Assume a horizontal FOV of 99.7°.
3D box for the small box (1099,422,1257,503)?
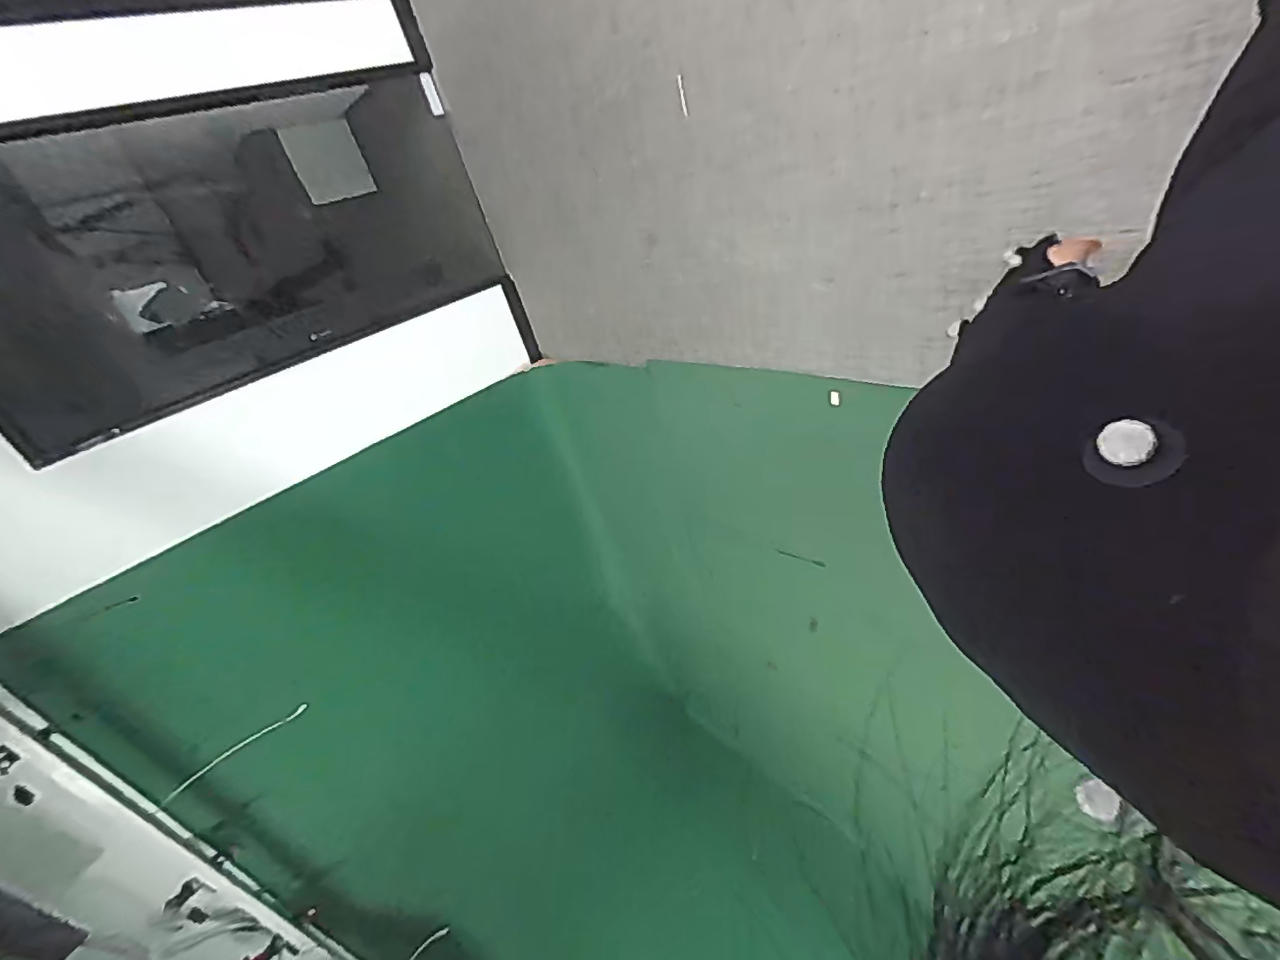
[{"bbox_3d":[0.984,0.007,0.998,0.179,0.176,0.168,19,133,46],"label":"small box"}]
